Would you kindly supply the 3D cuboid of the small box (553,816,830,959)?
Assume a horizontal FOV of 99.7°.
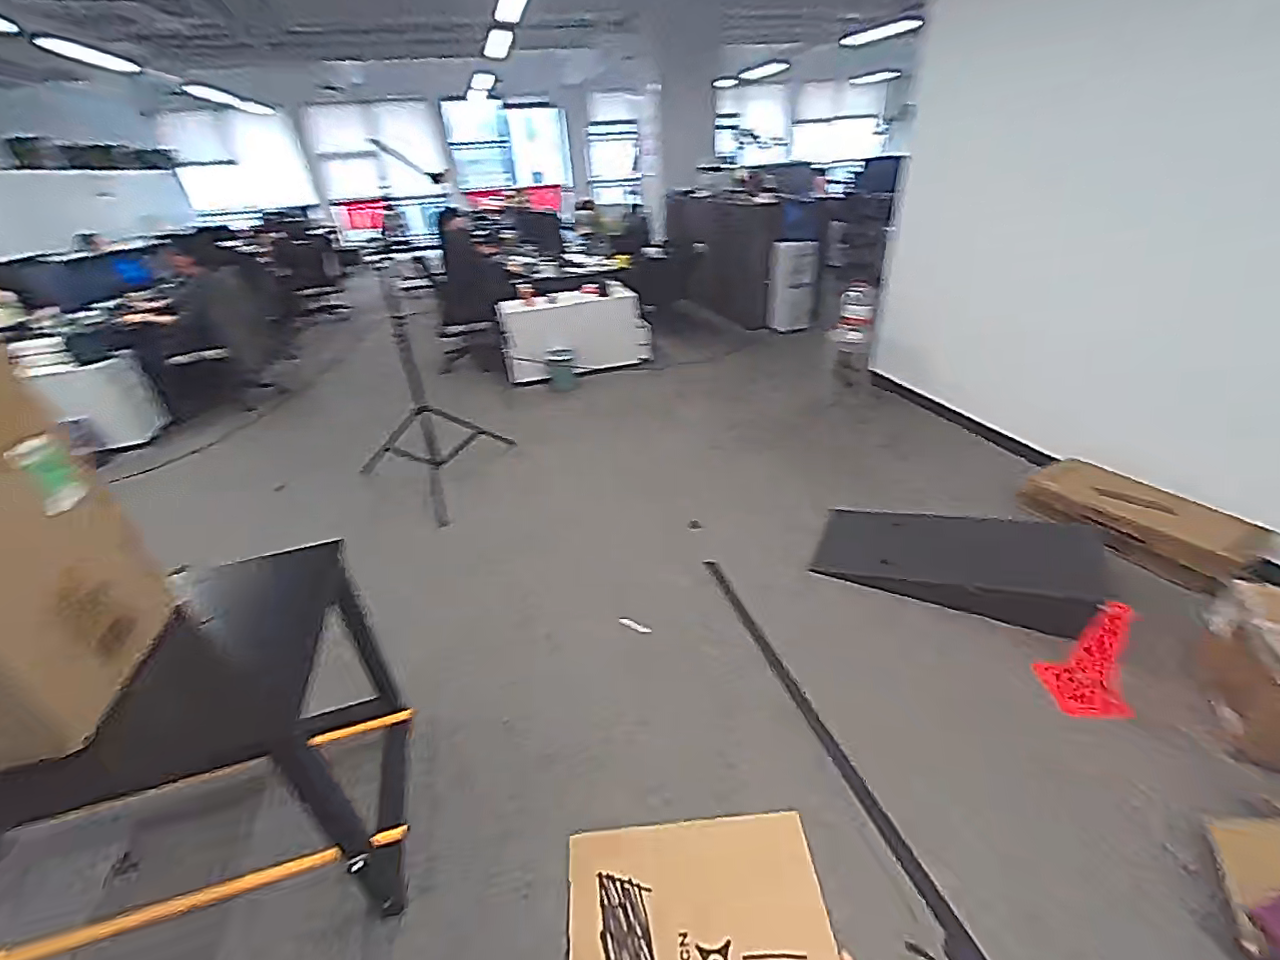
[{"bbox_3d":[0.038,0.371,0.381,0.179,0.176,0.168,-6,36,-3],"label":"small box"}]
